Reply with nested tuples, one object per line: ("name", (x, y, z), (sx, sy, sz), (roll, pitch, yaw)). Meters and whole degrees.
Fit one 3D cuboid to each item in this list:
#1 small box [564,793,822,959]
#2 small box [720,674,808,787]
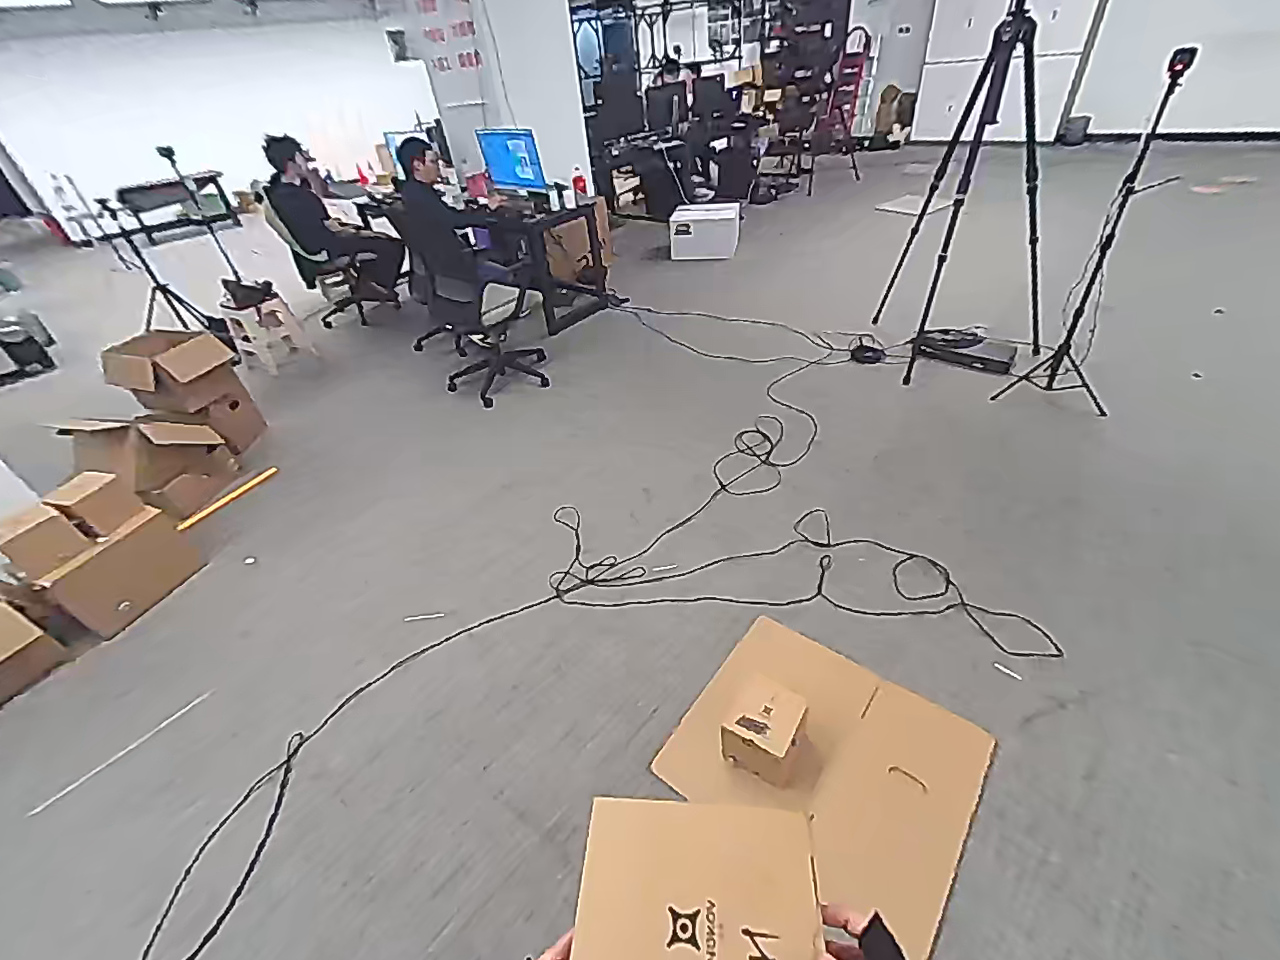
("small box", (0.045, 0.374, 0.428), (0.179, 0.176, 0.168), (-1, 40, 8))
("small box", (0.324, 0.652, 1.404), (0.168, 0.176, 0.179), (18, 45, 30))
